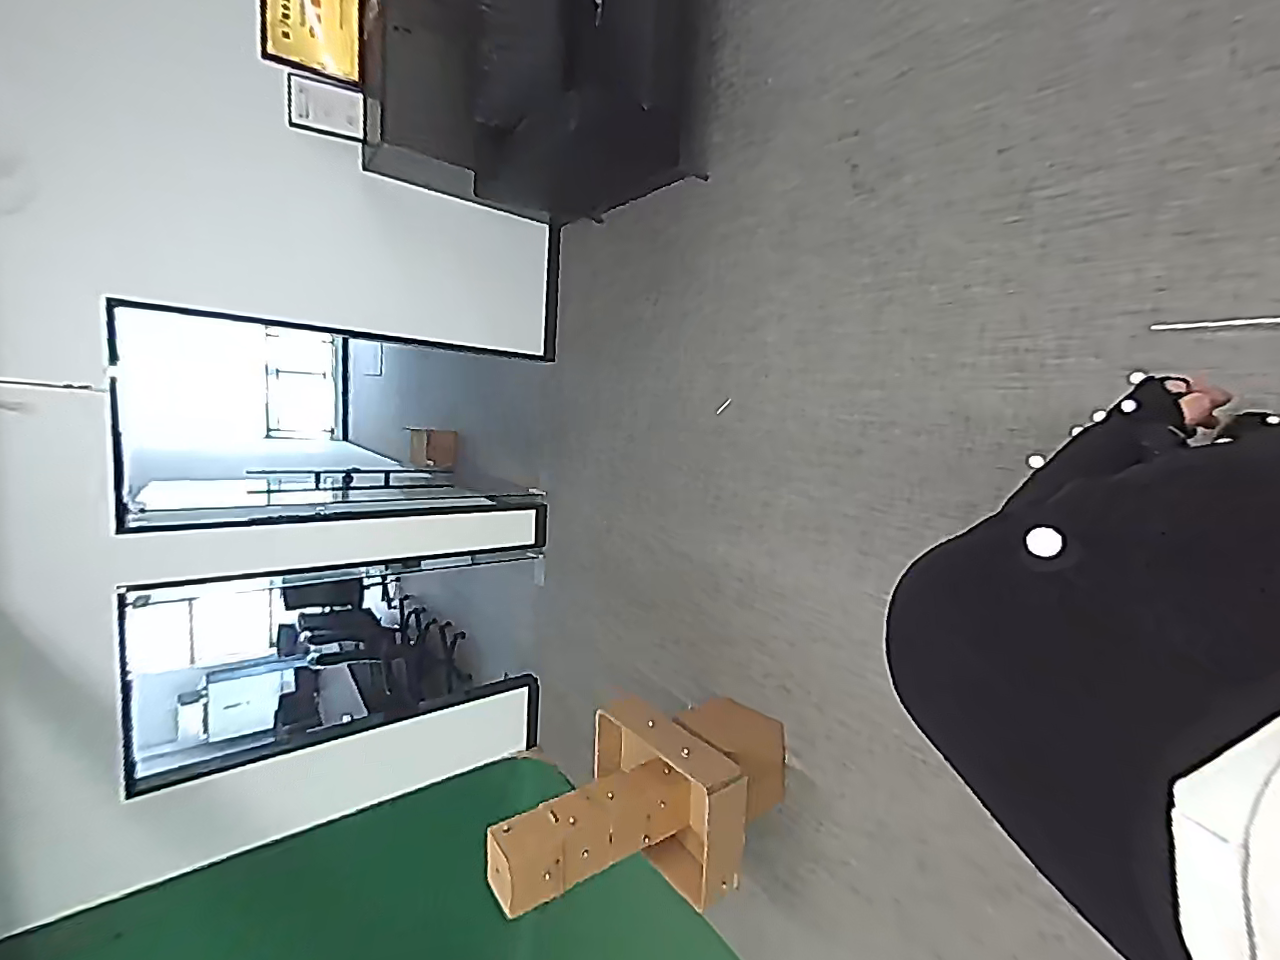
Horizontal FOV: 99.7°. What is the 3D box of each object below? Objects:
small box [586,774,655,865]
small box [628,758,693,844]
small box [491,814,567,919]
[{"bbox_3d":[-0.064,1.110,1.790,0.179,0.176,0.168,8,97,54],"label":"small box"},{"bbox_3d":[0.071,1.109,1.883,0.168,0.176,0.179,6,96,54],"label":"small box"},{"bbox_3d":[-0.331,1.126,1.598,0.179,0.176,0.168,5,96,54],"label":"small box"}]
